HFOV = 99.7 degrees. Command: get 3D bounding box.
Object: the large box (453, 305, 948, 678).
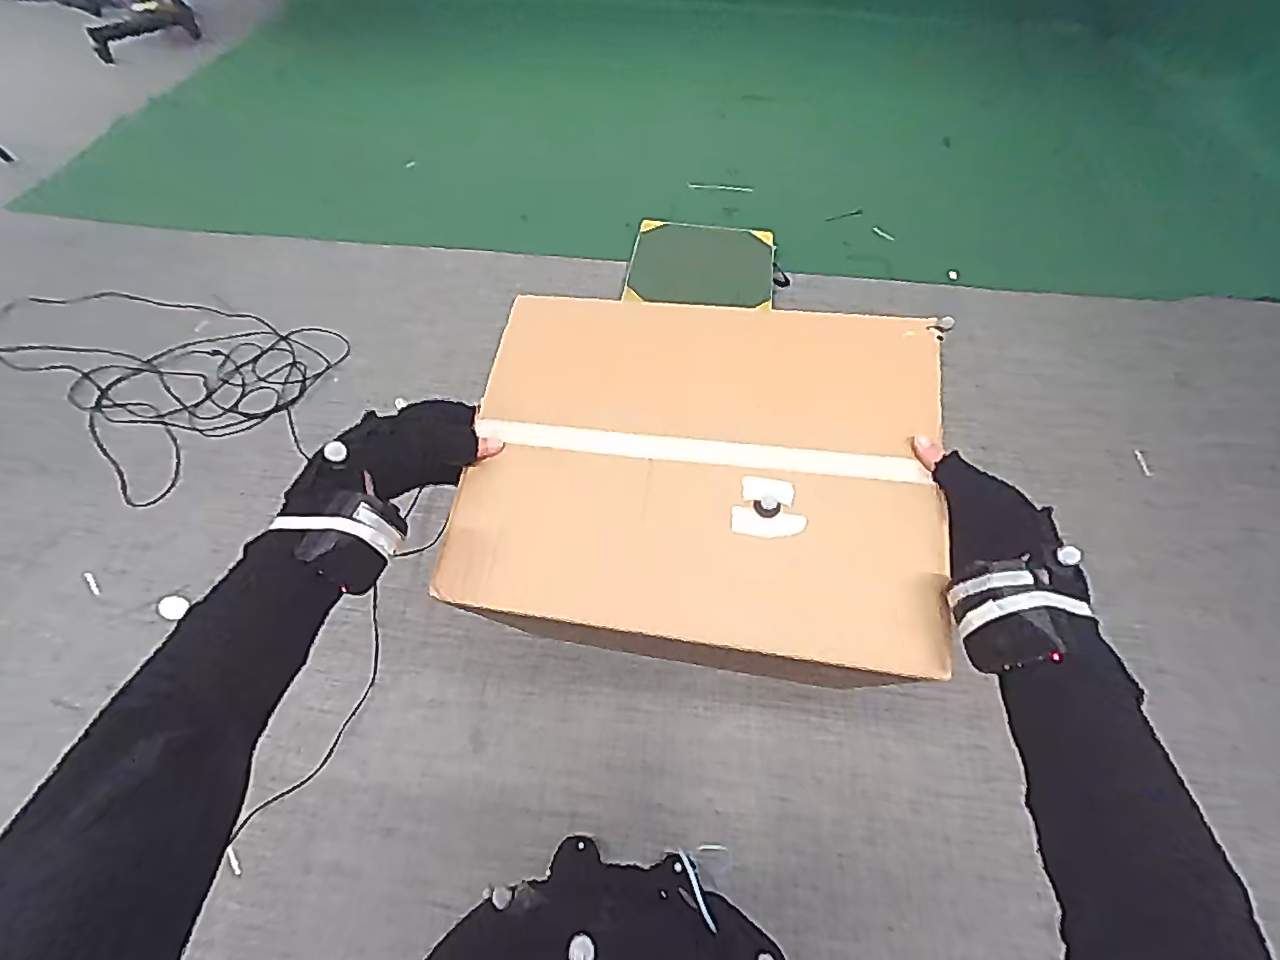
[{"bbox_3d":[0.068,0.032,0.620,0.408,0.320,0.320,7,69,8],"label":"large box"}]
